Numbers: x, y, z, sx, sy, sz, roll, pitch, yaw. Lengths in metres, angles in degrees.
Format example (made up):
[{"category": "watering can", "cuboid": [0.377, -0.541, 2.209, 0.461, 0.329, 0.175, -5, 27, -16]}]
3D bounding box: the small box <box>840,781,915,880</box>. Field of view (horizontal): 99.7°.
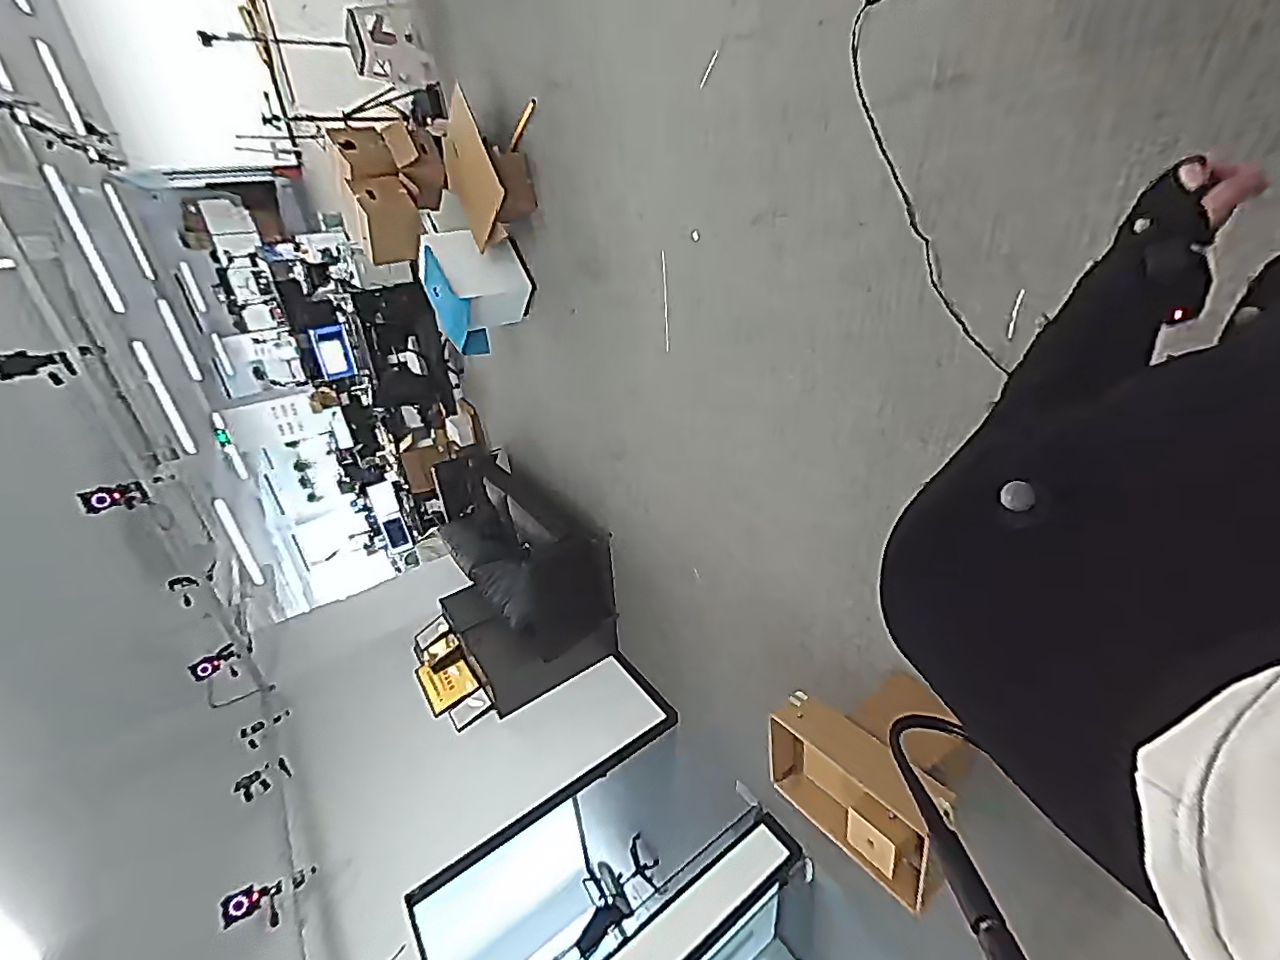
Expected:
[{"category": "small box", "cuboid": [0.780, 1.141, 1.777, 0.168, 0.176, 0.179, 24, 129, 50]}]
